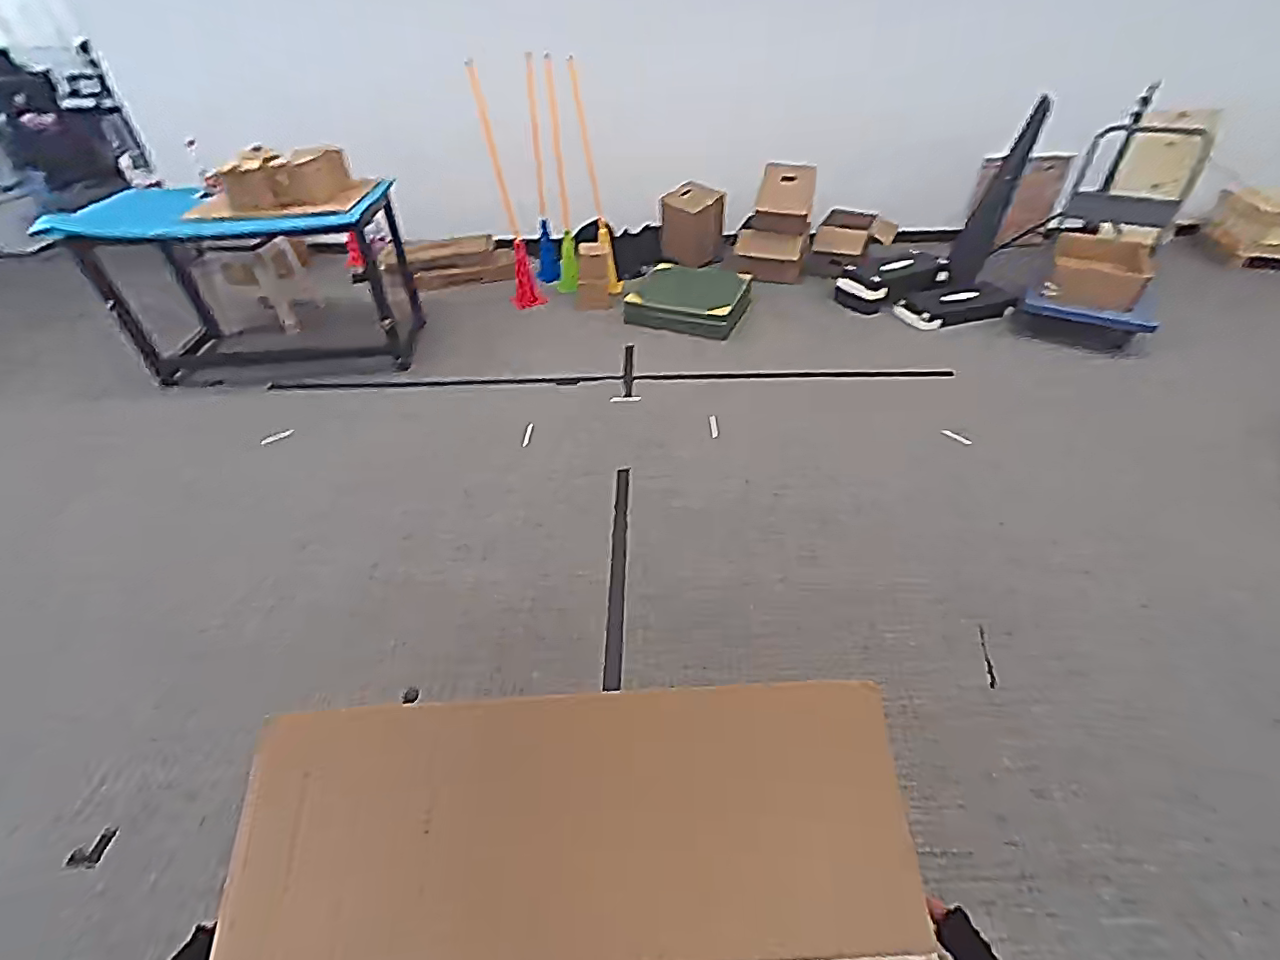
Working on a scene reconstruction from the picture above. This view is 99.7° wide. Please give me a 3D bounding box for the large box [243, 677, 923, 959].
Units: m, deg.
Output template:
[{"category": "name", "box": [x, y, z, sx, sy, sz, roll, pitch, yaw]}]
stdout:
[{"category": "large box", "box": [-0.034, 0.352, 0.443, 0.408, 0.320, 0.320, -3, 66, -1]}]
